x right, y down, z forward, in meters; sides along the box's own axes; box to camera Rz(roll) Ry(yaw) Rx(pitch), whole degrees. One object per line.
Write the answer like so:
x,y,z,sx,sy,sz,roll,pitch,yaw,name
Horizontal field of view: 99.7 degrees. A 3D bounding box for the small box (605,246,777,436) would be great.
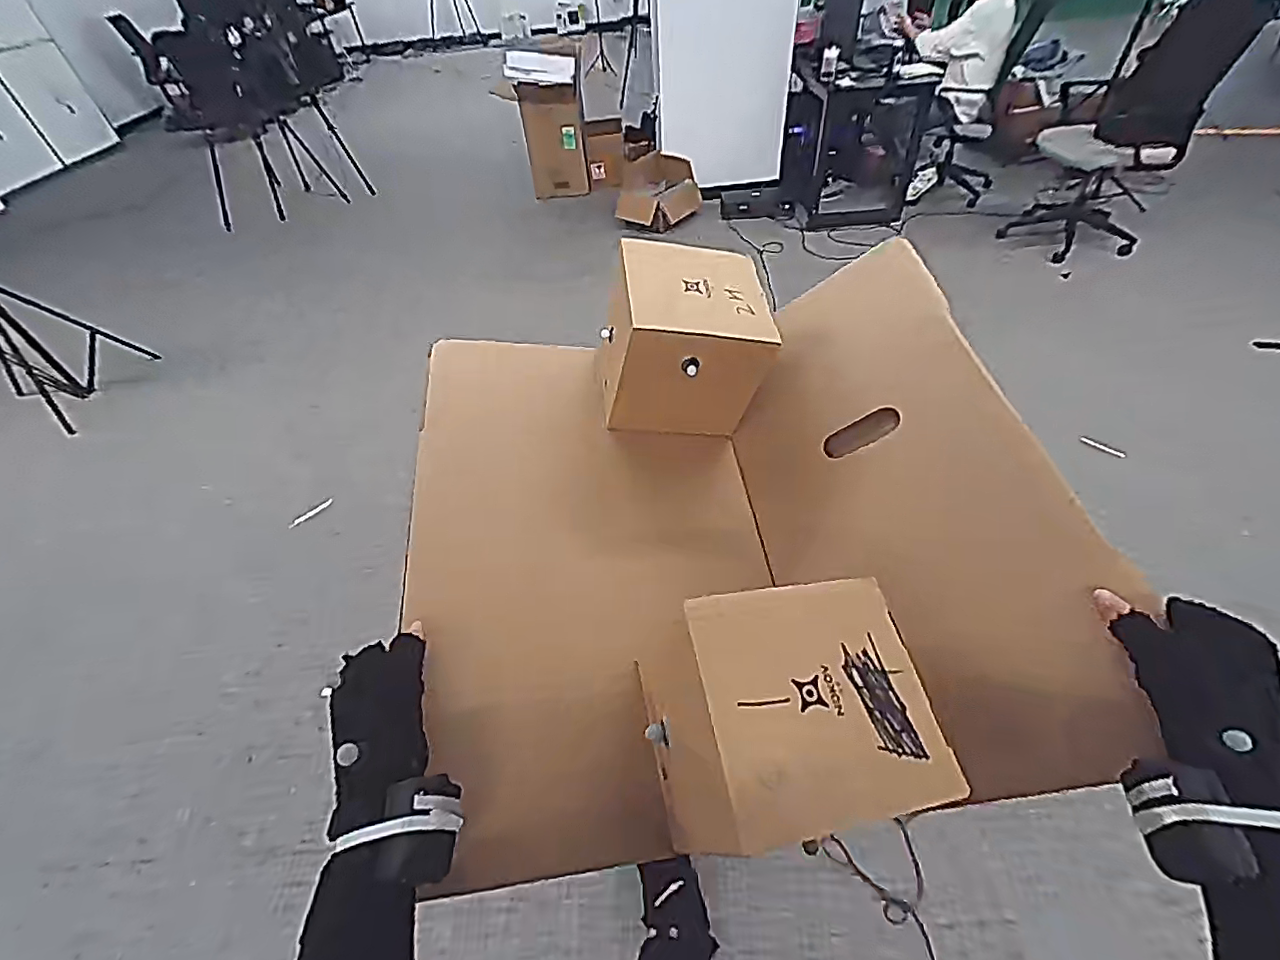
0.050,-0.172,0.703,0.179,0.176,0.168,3,55,-13,small box
